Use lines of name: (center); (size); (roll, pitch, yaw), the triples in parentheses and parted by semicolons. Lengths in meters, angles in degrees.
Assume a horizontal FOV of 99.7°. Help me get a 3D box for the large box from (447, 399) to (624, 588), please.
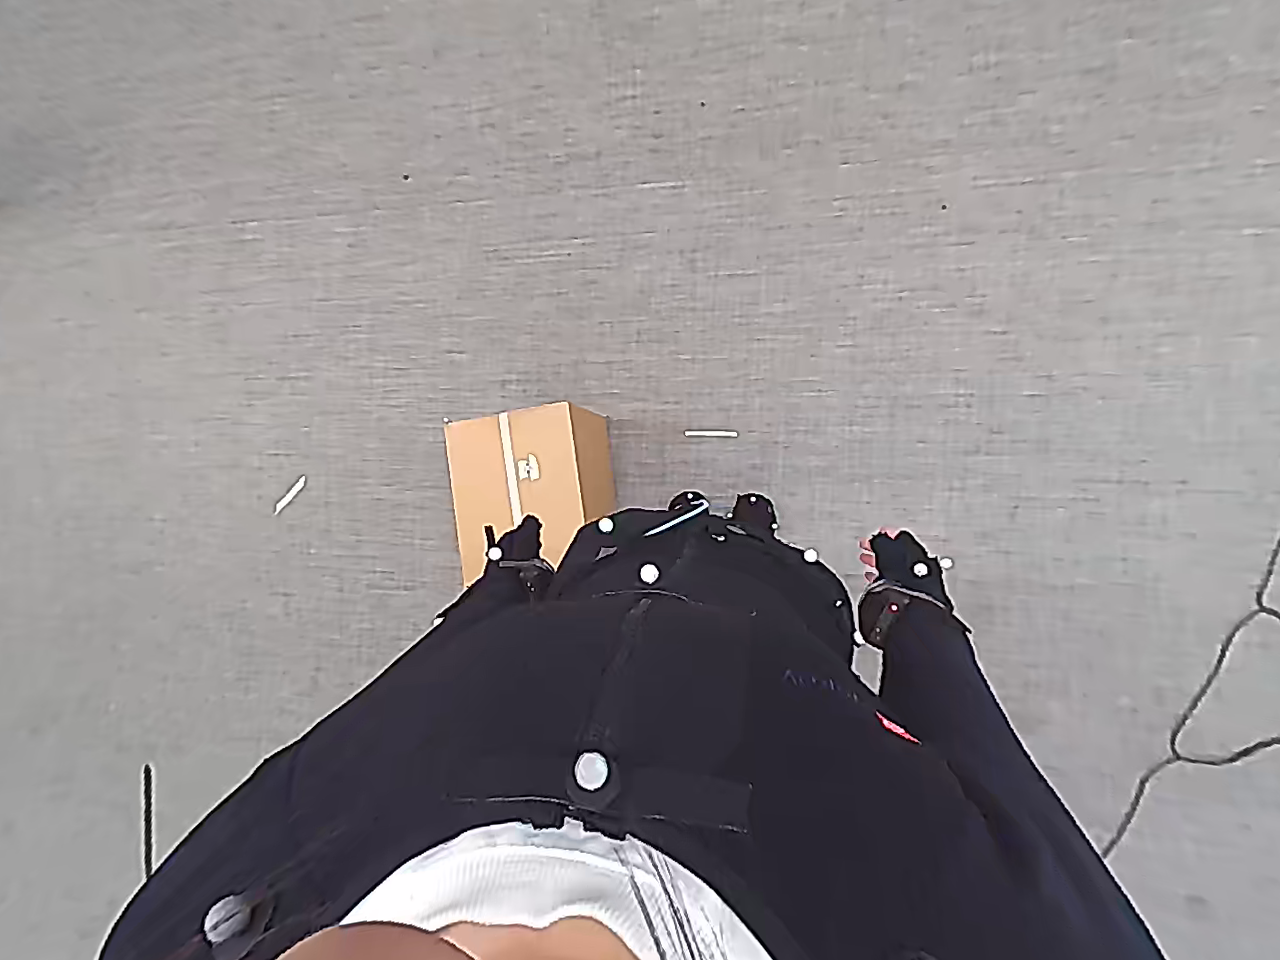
large box: (-0.247, 0.036, 1.382); (0.320, 0.320, 0.408); (-8, 88, 11)
